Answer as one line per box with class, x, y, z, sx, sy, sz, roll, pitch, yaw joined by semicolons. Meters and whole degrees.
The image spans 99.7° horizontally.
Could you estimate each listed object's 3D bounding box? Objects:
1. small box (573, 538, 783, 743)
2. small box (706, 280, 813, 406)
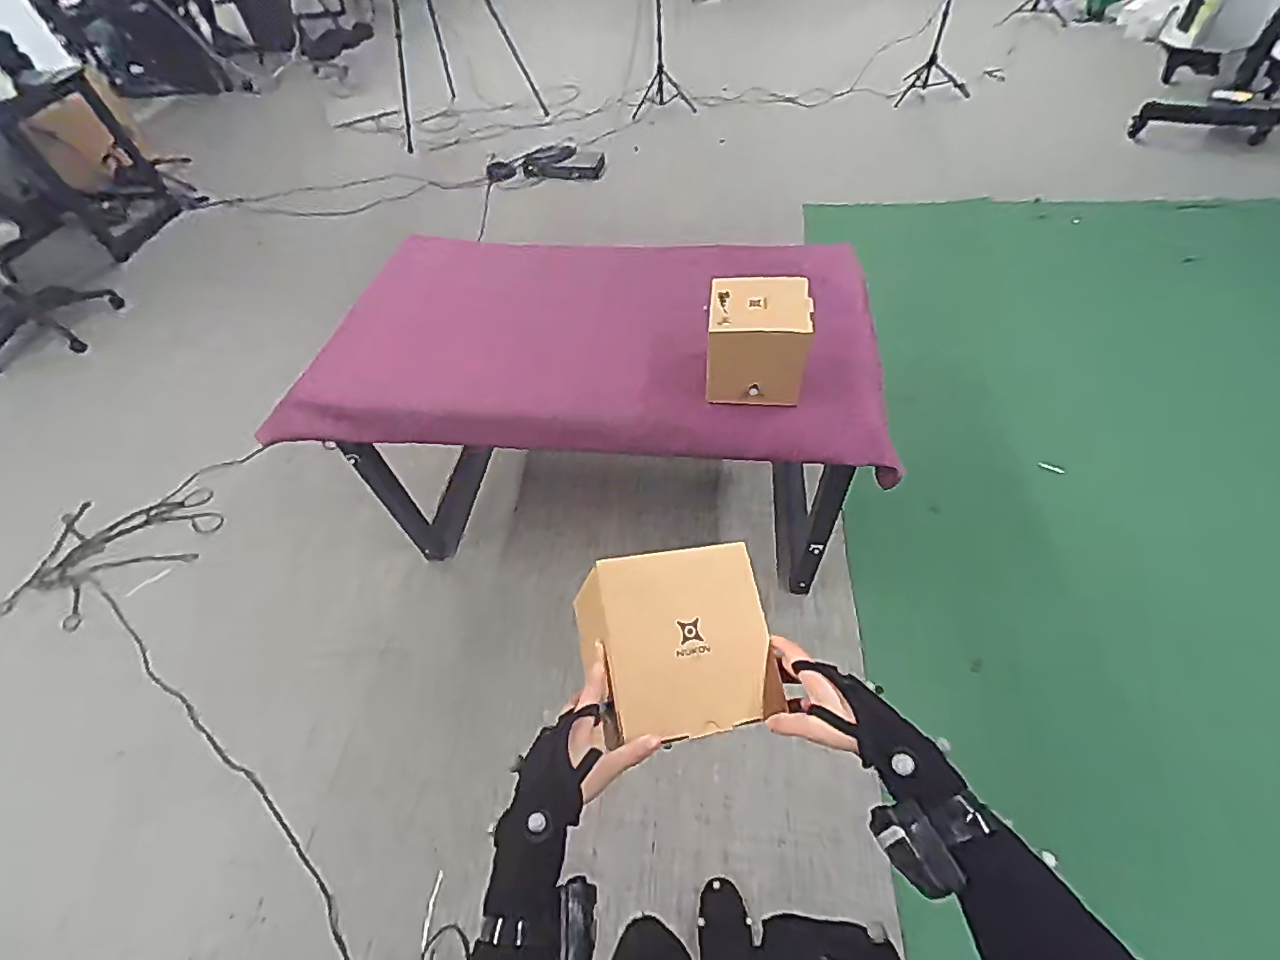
small box;0.025;0.179;0.591;0.168;0.176;0.179;-5;67;-16
small box;0.219;-0.255;1.018;0.179;0.176;0.168;4;50;9
